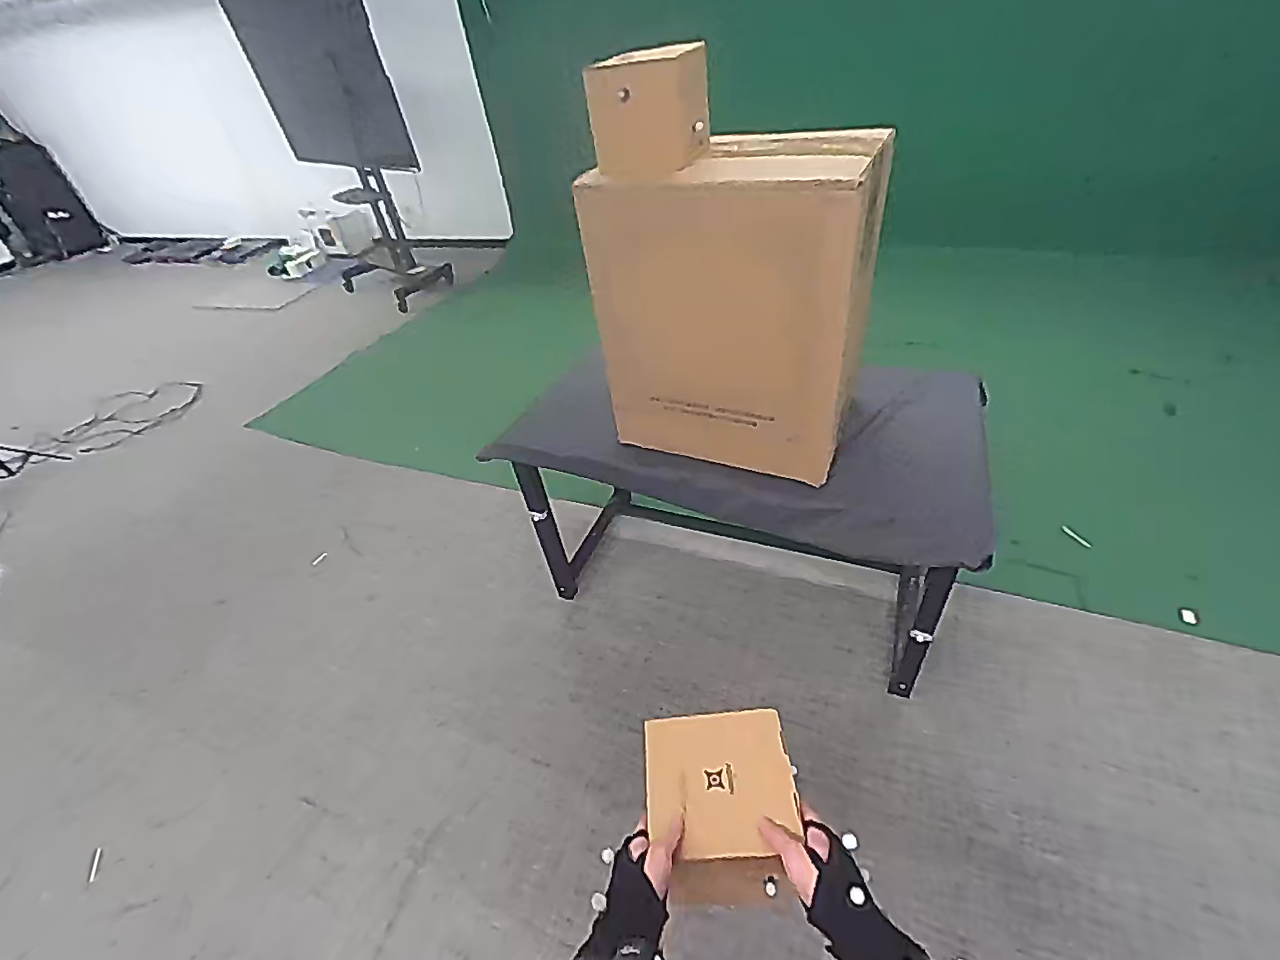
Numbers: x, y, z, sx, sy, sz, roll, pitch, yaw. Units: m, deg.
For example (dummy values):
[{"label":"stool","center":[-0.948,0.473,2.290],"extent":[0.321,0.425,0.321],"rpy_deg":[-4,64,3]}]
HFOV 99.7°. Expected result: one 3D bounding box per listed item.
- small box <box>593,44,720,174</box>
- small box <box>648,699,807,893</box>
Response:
[{"label":"small box","center":[0.040,-0.696,1.025],"extent":[0.179,0.176,0.168],"rpy_deg":[13,49,26]},{"label":"small box","center":[0.110,0.412,0.706],"extent":[0.179,0.176,0.168],"rpy_deg":[-9,37,6]}]
